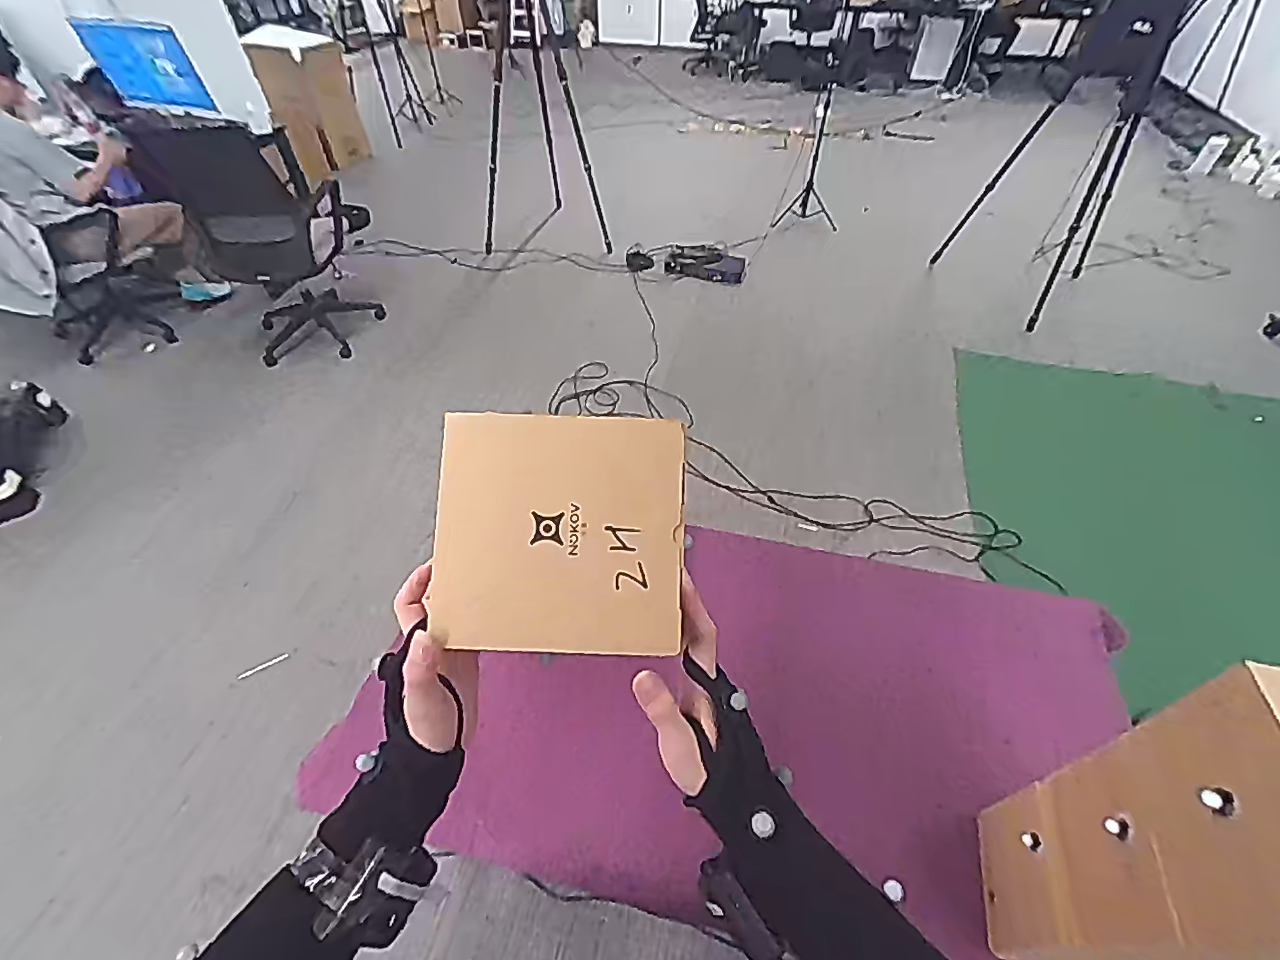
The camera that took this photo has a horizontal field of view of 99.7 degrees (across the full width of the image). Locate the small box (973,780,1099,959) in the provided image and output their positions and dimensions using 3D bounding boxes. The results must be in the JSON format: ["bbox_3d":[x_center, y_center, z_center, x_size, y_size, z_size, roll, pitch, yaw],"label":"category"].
[{"bbox_3d":[0.538,0.498,0.654,0.179,0.176,0.168,14,48,12],"label":"small box"}]

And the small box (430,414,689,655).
[{"bbox_3d":[-0.055,0.048,0.461,0.179,0.176,0.168,3,82,-1],"label":"small box"}]
